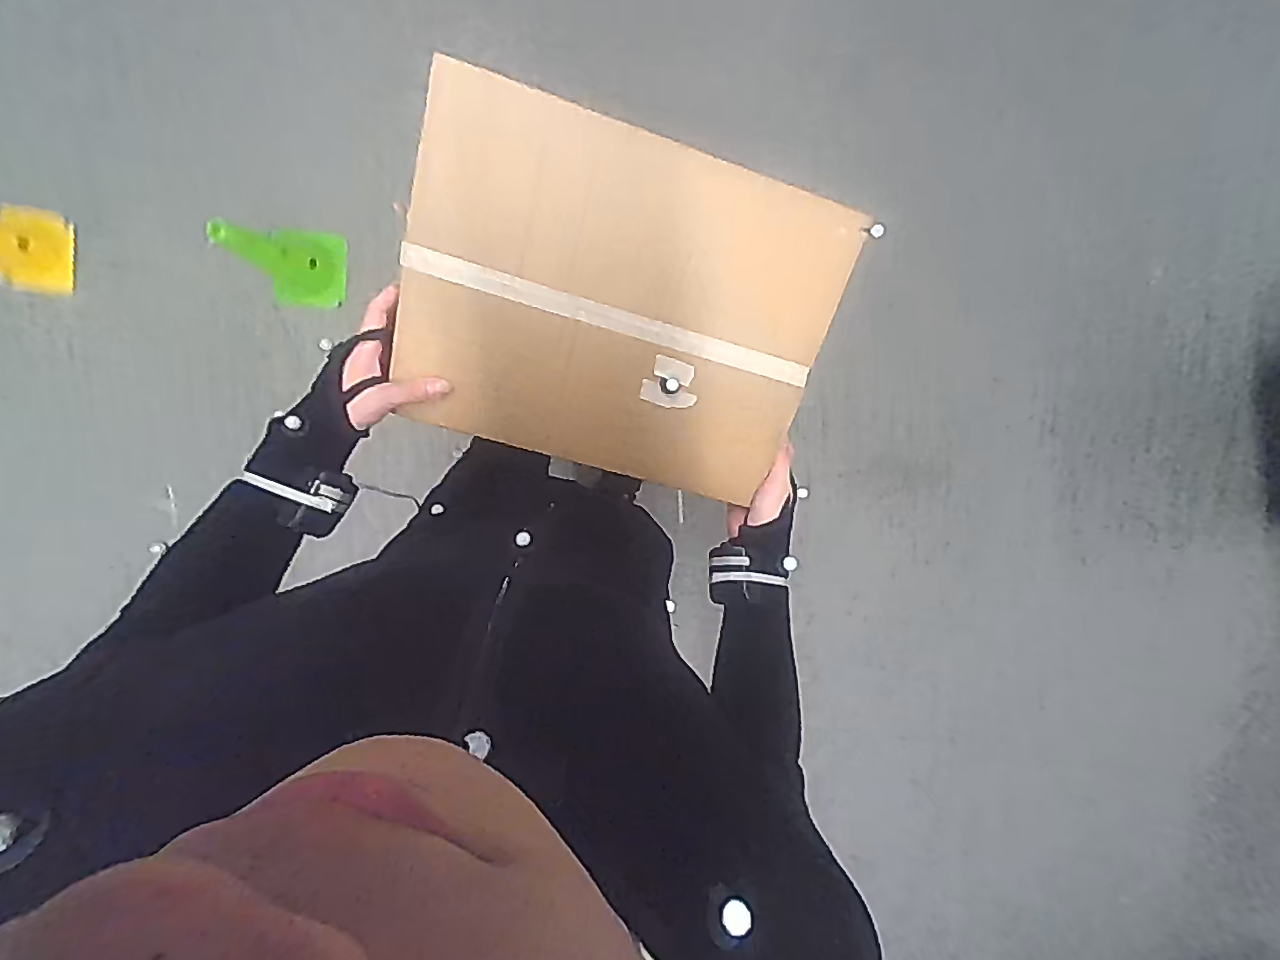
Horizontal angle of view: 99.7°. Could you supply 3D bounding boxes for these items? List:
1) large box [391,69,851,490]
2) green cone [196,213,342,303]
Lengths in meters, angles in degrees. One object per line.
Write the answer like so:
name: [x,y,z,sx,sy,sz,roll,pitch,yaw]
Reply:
large box: [-0.040,-0.220,0.669,0.408,0.320,0.320,13,111,-11]
green cone: [-0.937,-0.585,1.347,0.202,0.368,0.200,6,97,-1]
